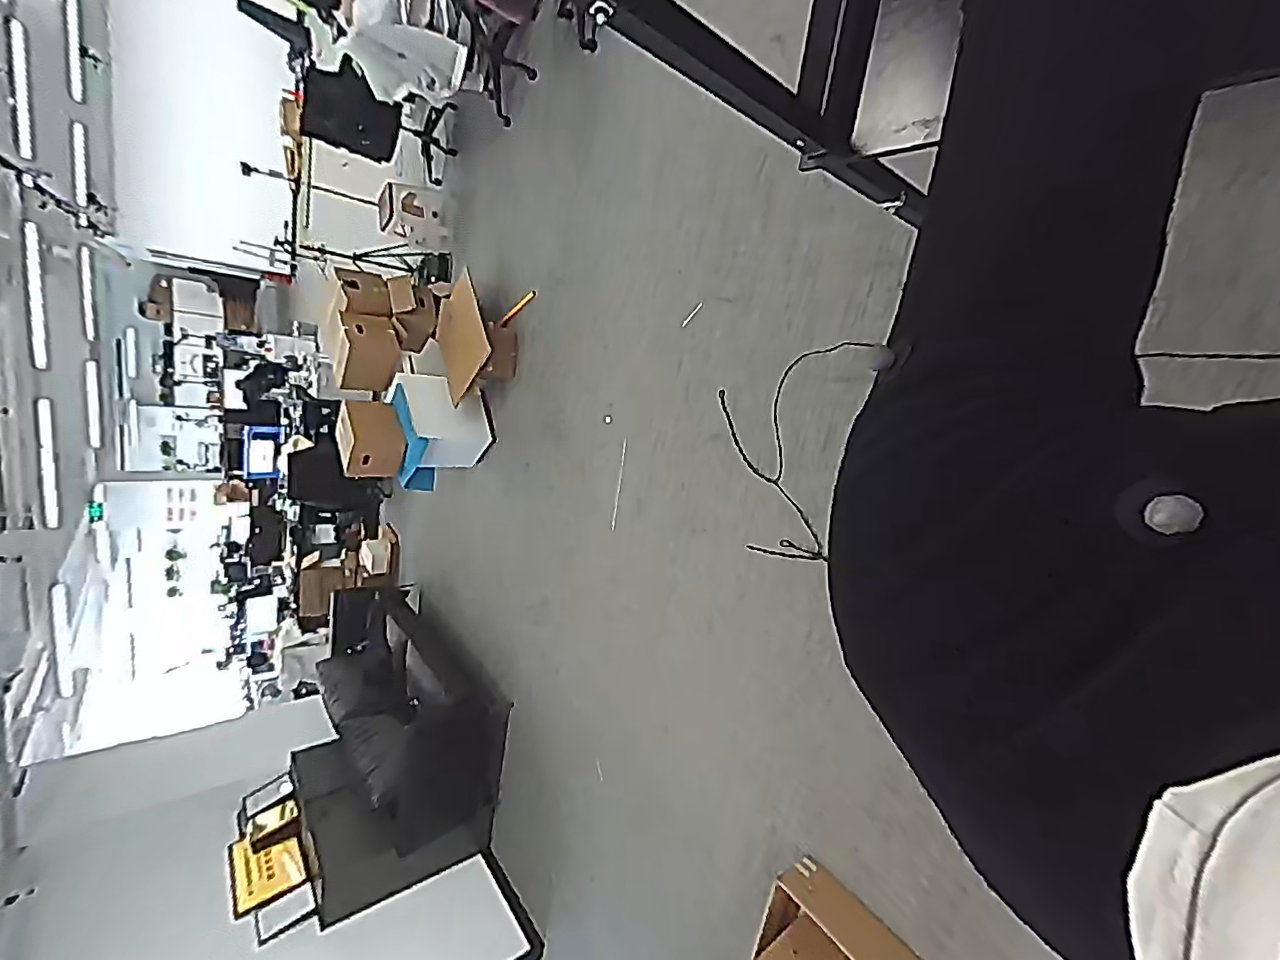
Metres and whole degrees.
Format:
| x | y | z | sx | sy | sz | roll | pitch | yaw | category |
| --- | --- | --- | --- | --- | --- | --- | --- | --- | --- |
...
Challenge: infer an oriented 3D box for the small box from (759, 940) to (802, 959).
| x | y | z | sx | sy | sz | roll | pitch | yaw | category |
| --- | --- | --- | --- | --- | --- | --- | --- | --- | --- |
| 0.436 | 1.590 | 1.662 | 0.168 | 0.176 | 0.179 | 24 | 109 | 45 | small box |
